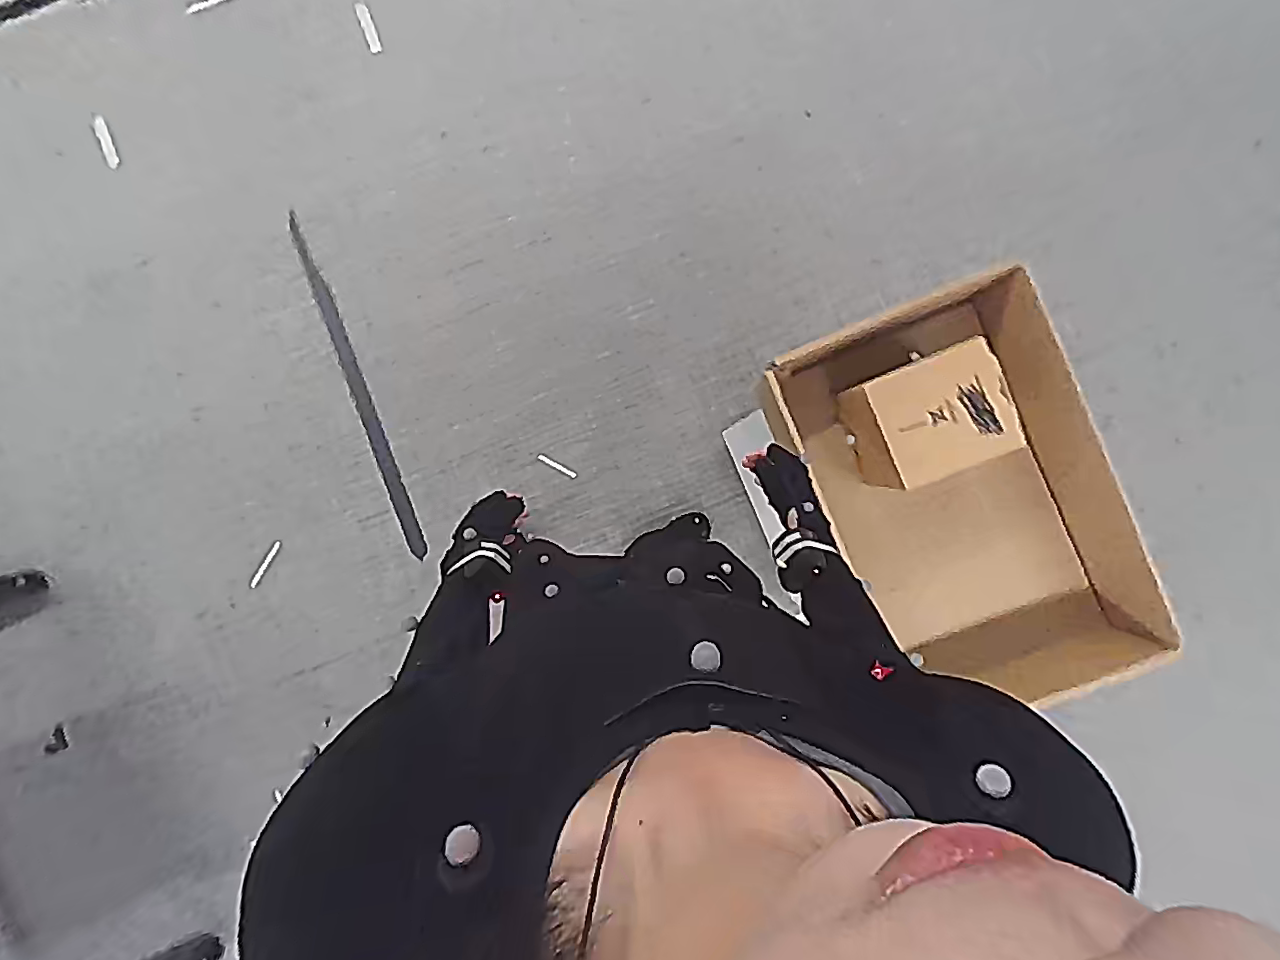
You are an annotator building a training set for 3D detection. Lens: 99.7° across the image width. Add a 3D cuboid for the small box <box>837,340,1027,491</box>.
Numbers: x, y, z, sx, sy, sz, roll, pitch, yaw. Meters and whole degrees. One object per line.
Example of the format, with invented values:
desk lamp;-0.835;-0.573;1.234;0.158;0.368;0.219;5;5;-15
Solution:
small box;0.434;-0.093;0.833;0.179;0.176;0.168;-22;90;5
